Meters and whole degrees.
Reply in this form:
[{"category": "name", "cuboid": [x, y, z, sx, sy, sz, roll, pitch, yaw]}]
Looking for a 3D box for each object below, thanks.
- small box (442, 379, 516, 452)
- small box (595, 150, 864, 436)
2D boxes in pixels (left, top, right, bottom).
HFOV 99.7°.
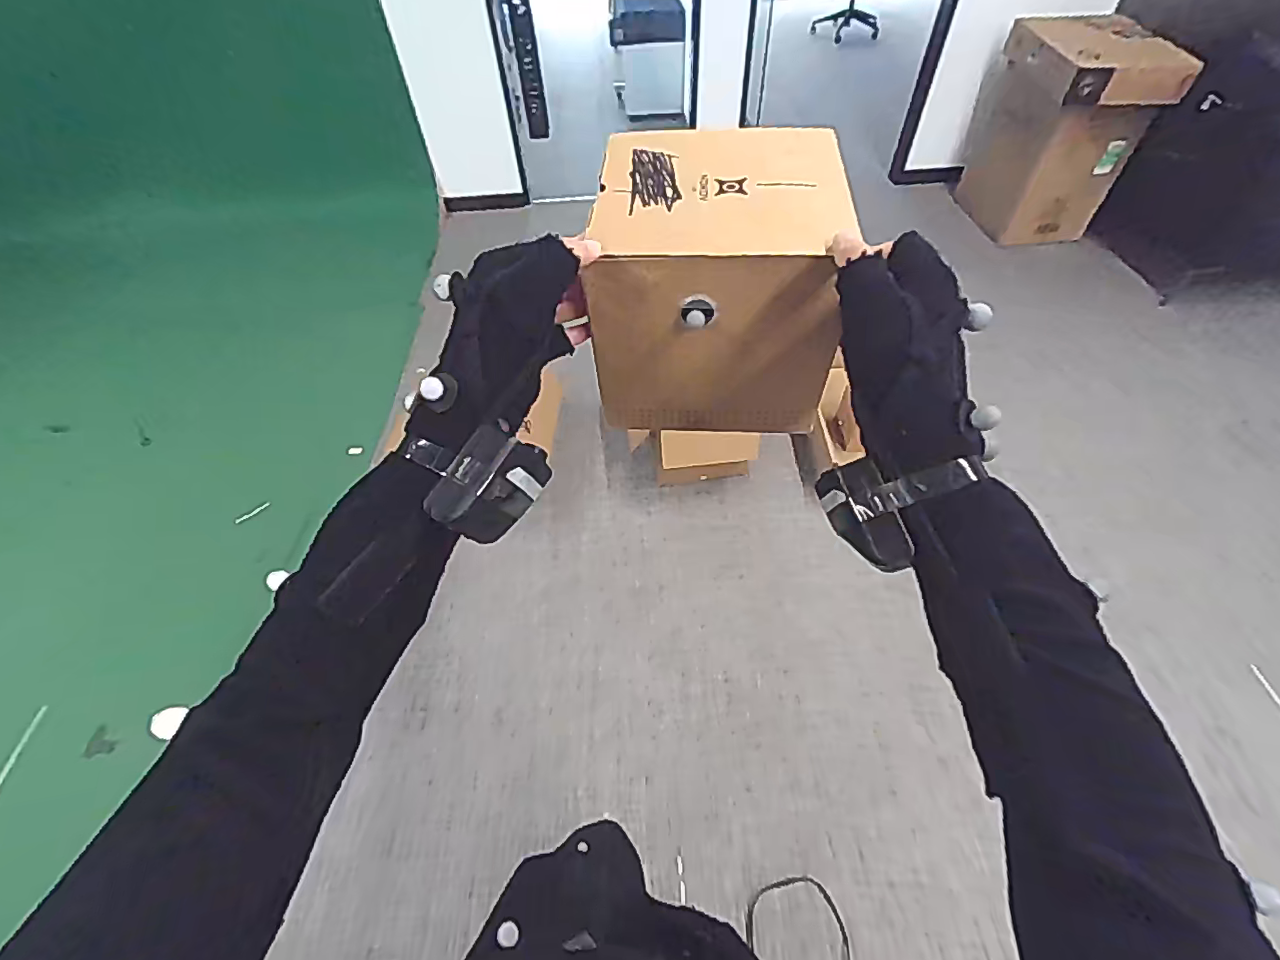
[{"category": "small box", "cuboid": [-0.504, -0.204, 1.723, 0.179, 0.176, 0.168, 1, 50, 1]}, {"category": "small box", "cuboid": [0.066, -0.152, 0.457, 0.179, 0.176, 0.168, 3, 55, 4]}]
